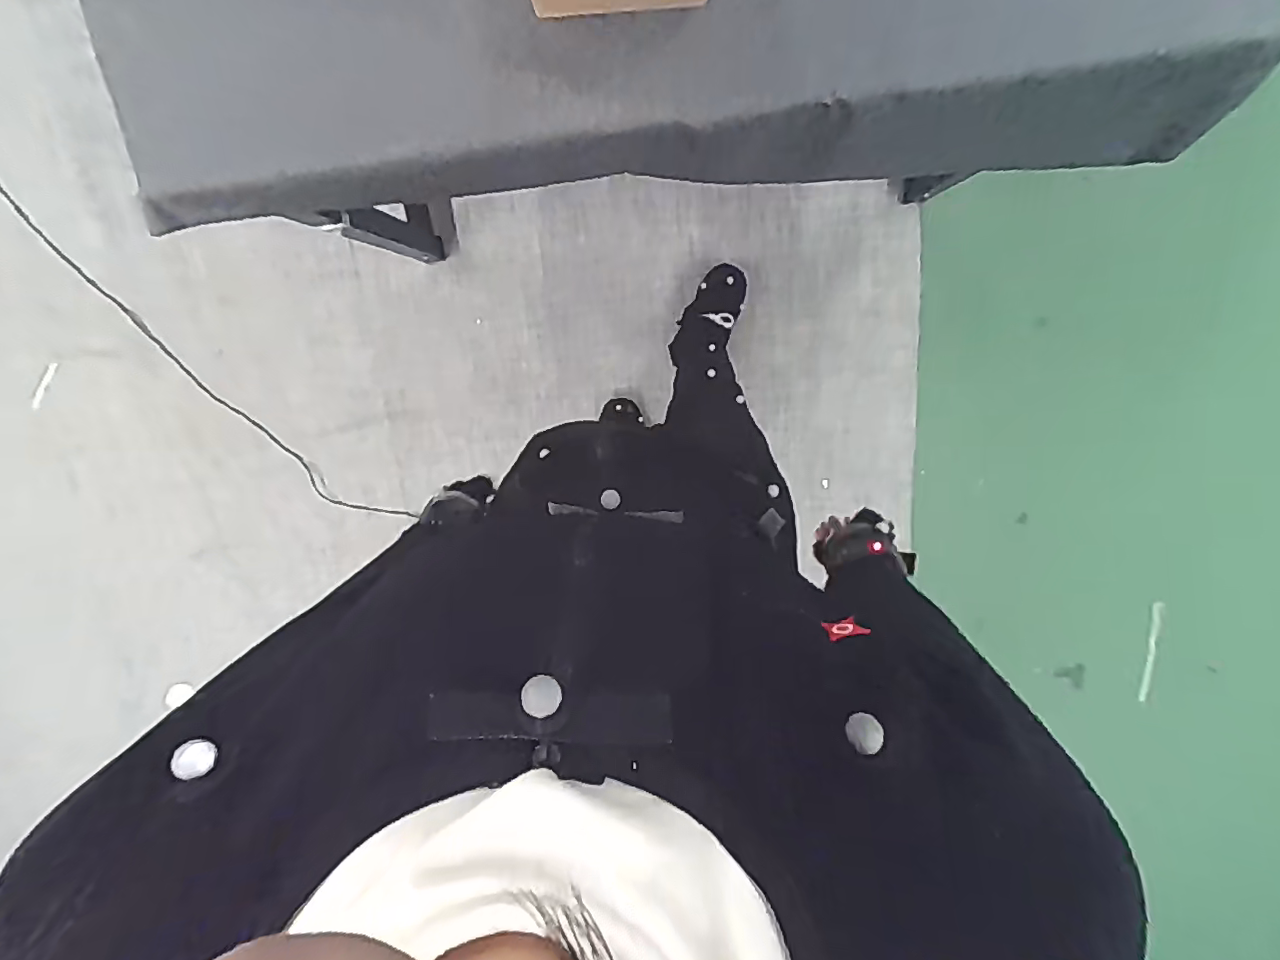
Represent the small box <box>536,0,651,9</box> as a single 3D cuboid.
[{"bbox_3d":[-0.028,-0.544,0.454,0.179,0.176,0.168,-2,103,4],"label":"small box"}]
